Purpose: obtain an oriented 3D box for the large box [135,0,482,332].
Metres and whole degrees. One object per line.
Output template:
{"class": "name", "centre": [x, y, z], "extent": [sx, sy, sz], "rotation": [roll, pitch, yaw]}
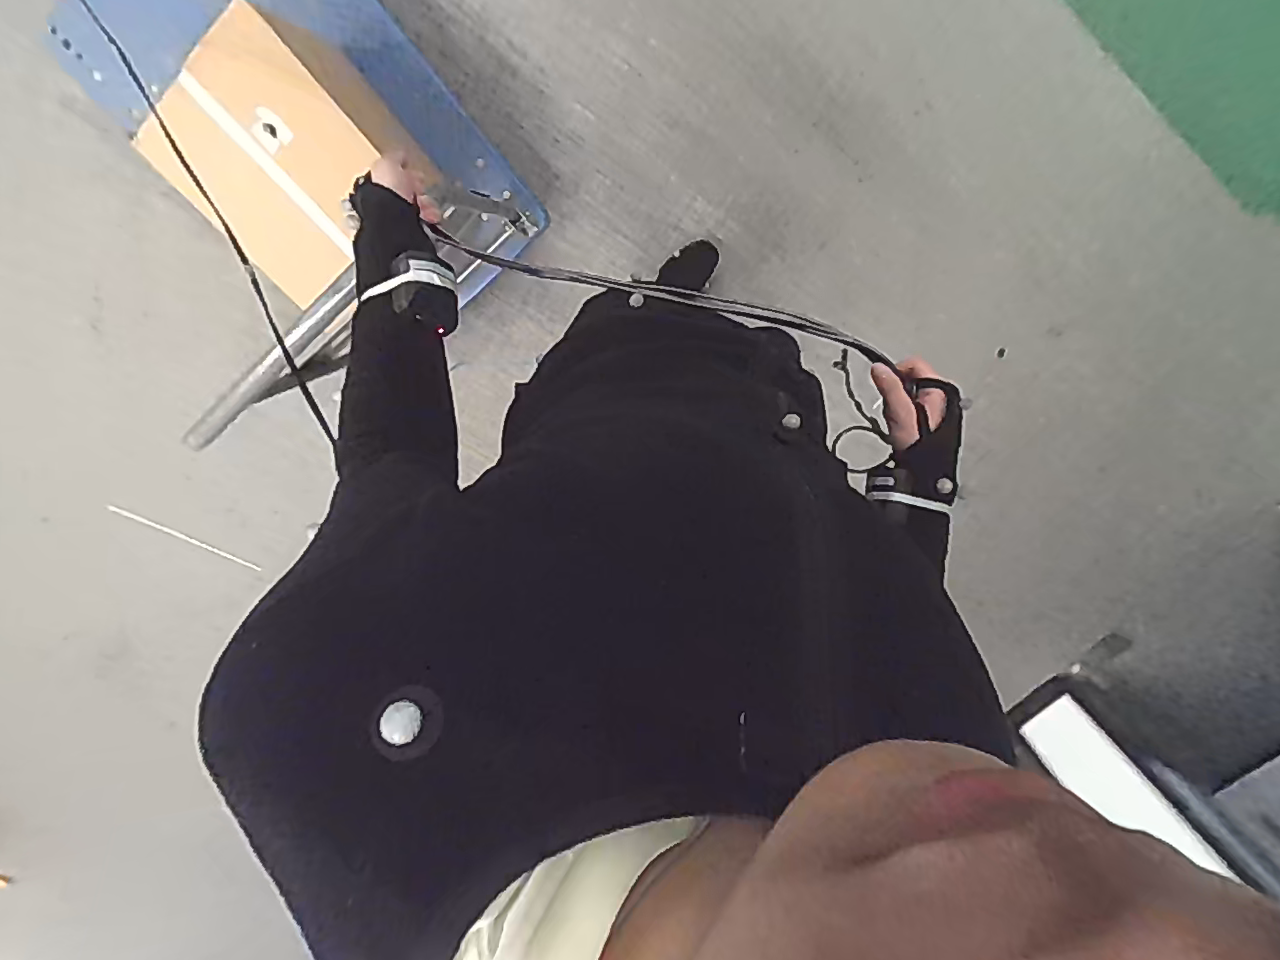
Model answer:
{"class": "large box", "centre": [-0.586, -0.562, 1.044], "extent": [0.320, 0.320, 0.408], "rotation": [-35, 112, 15]}
